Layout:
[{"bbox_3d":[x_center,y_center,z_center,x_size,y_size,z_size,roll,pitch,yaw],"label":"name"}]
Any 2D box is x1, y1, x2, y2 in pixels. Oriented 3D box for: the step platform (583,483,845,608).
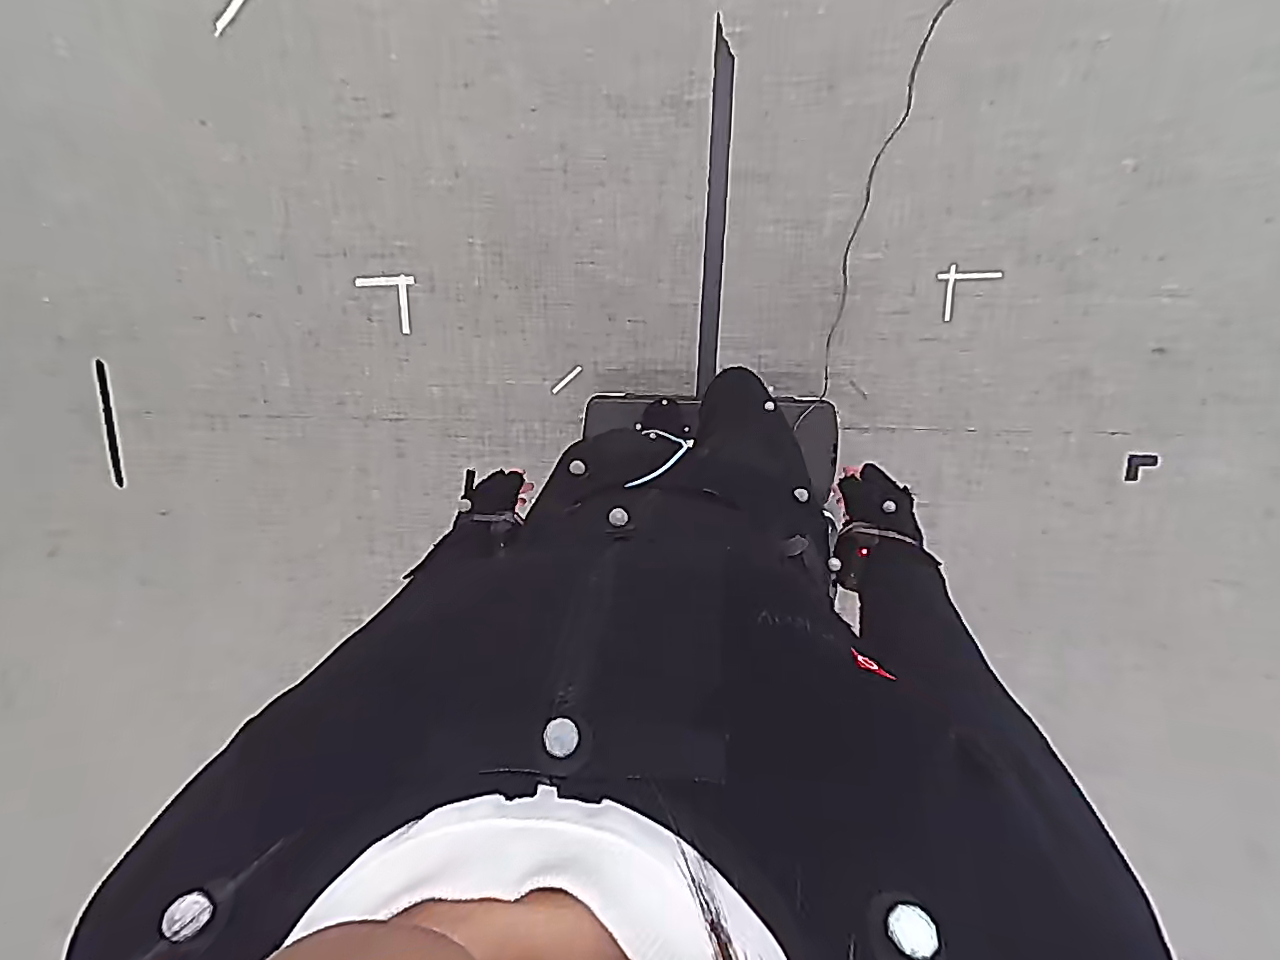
[{"bbox_3d":[0.188,0.170,1.454,0.684,0.204,0.286,1,99,7],"label":"step platform"}]
